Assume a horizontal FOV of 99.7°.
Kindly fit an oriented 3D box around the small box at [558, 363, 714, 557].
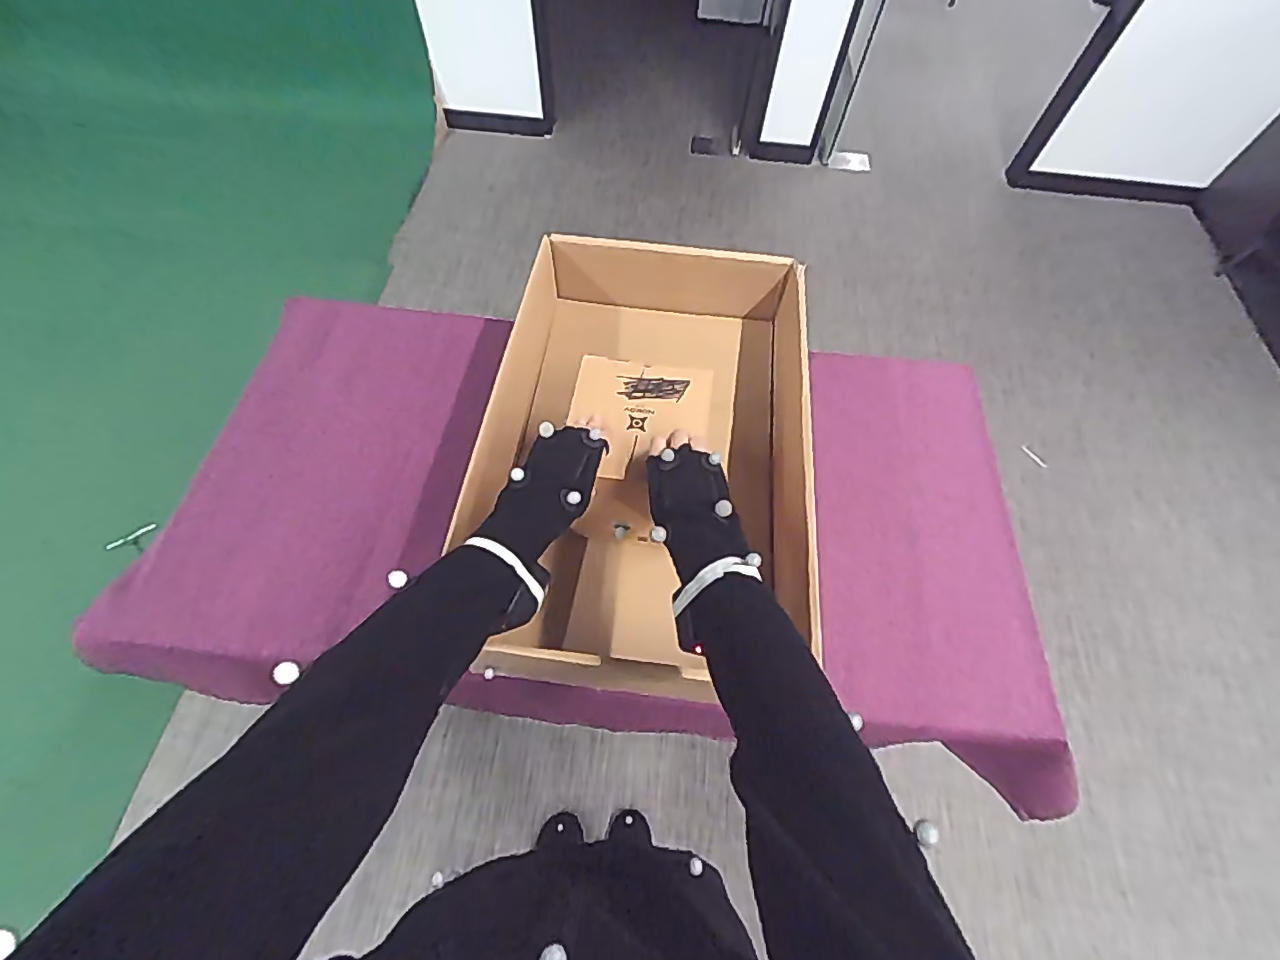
[{"bbox_3d":[-0.003,-0.021,0.700,0.168,0.176,0.179,7,59,2],"label":"small box"}]
